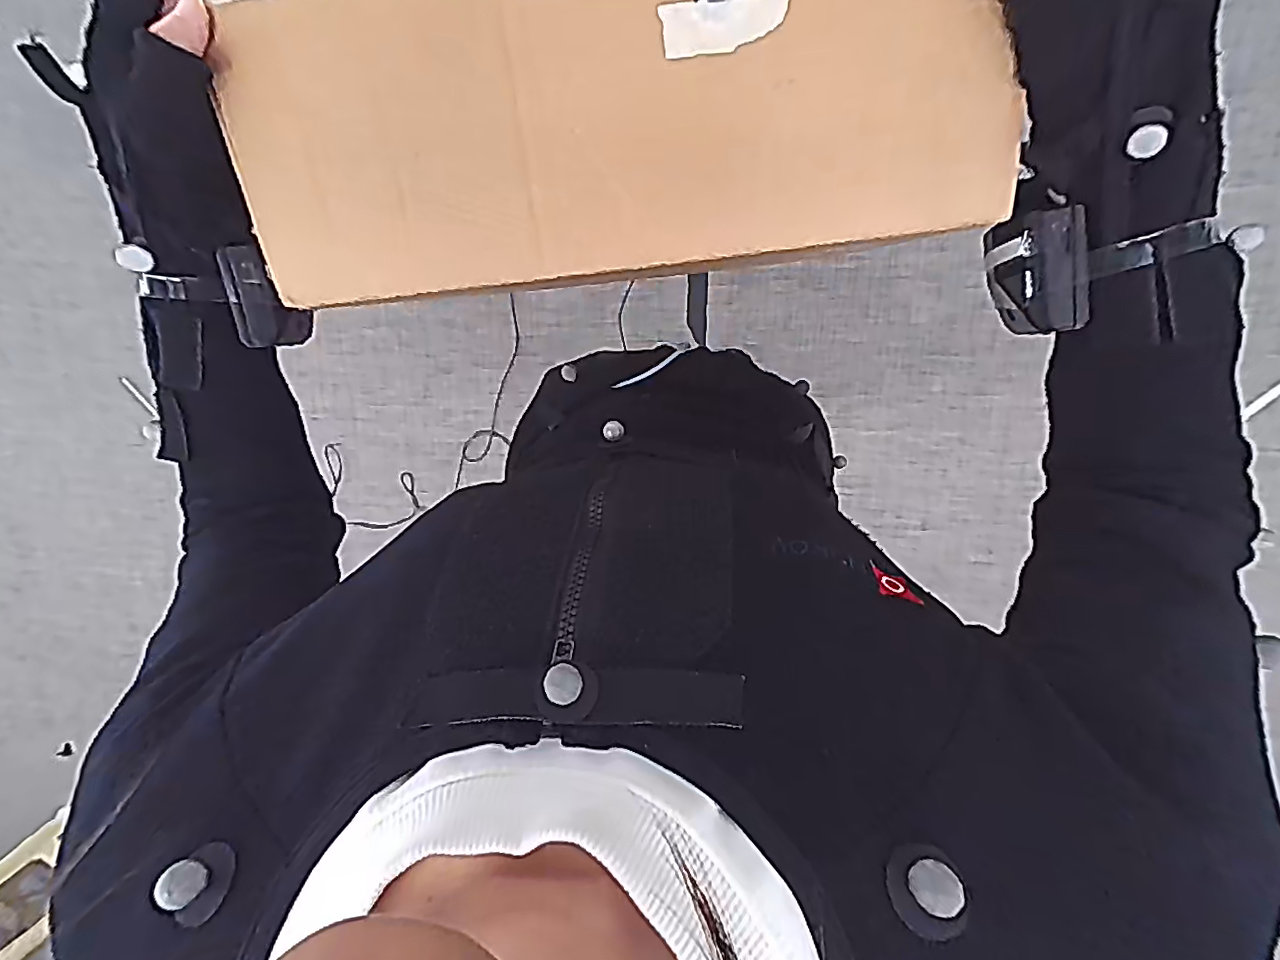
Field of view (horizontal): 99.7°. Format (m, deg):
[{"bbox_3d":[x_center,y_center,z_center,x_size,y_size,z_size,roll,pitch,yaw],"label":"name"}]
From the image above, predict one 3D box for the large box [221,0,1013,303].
[{"bbox_3d":[-0.014,-0.321,0.399,0.408,0.320,0.320,-4,110,8],"label":"large box"}]
